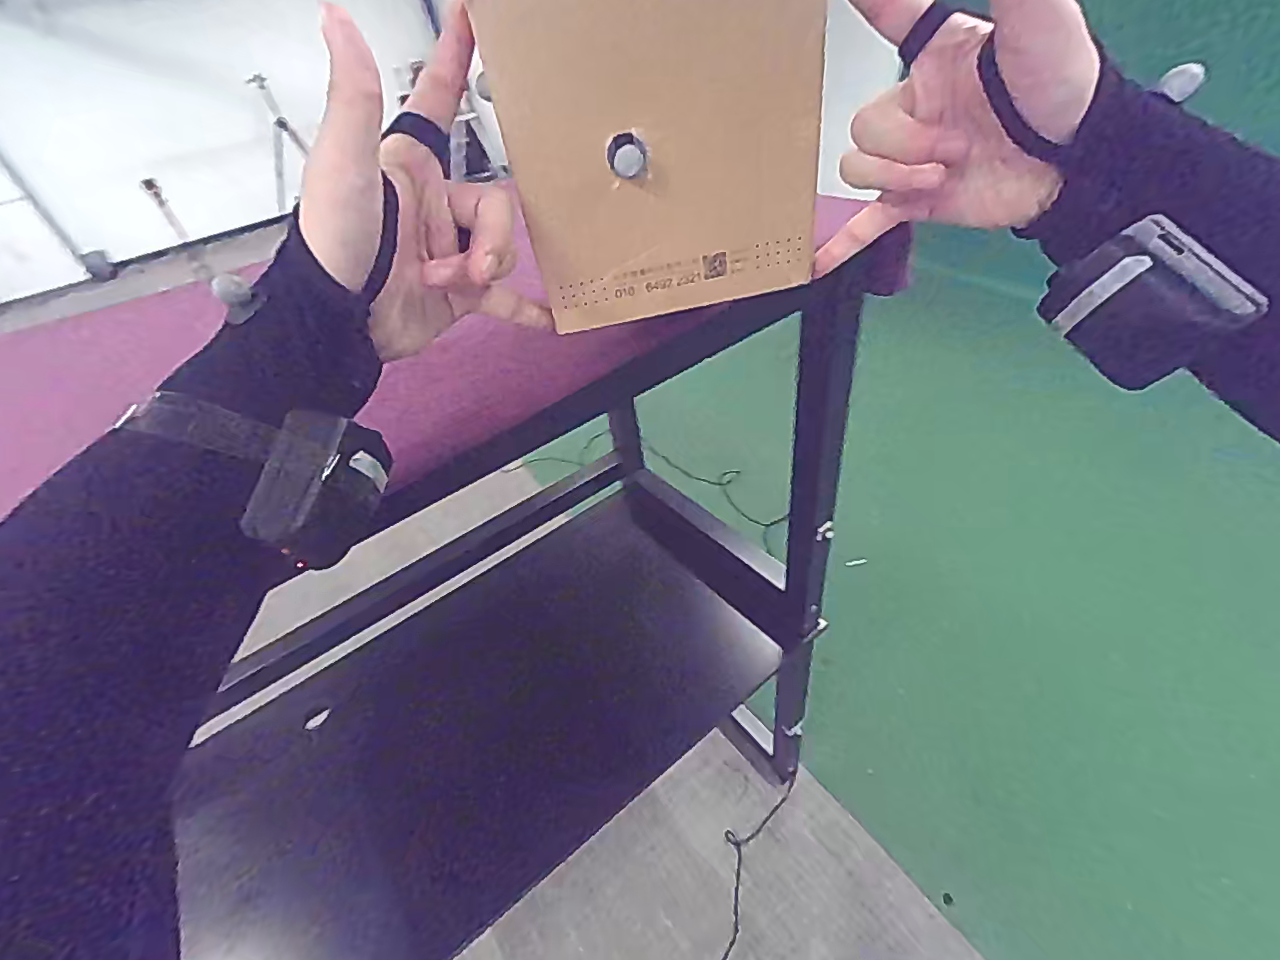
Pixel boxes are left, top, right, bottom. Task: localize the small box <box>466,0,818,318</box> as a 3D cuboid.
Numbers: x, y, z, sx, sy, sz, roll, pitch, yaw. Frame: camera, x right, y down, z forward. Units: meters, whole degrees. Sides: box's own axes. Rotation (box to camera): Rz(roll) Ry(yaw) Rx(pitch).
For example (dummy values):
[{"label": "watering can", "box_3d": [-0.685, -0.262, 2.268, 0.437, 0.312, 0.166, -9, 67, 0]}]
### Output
[{"label": "small box", "box_3d": [0.008, -0.218, 0.346, 0.168, 0.176, 0.179, -11, 41, 2]}]
